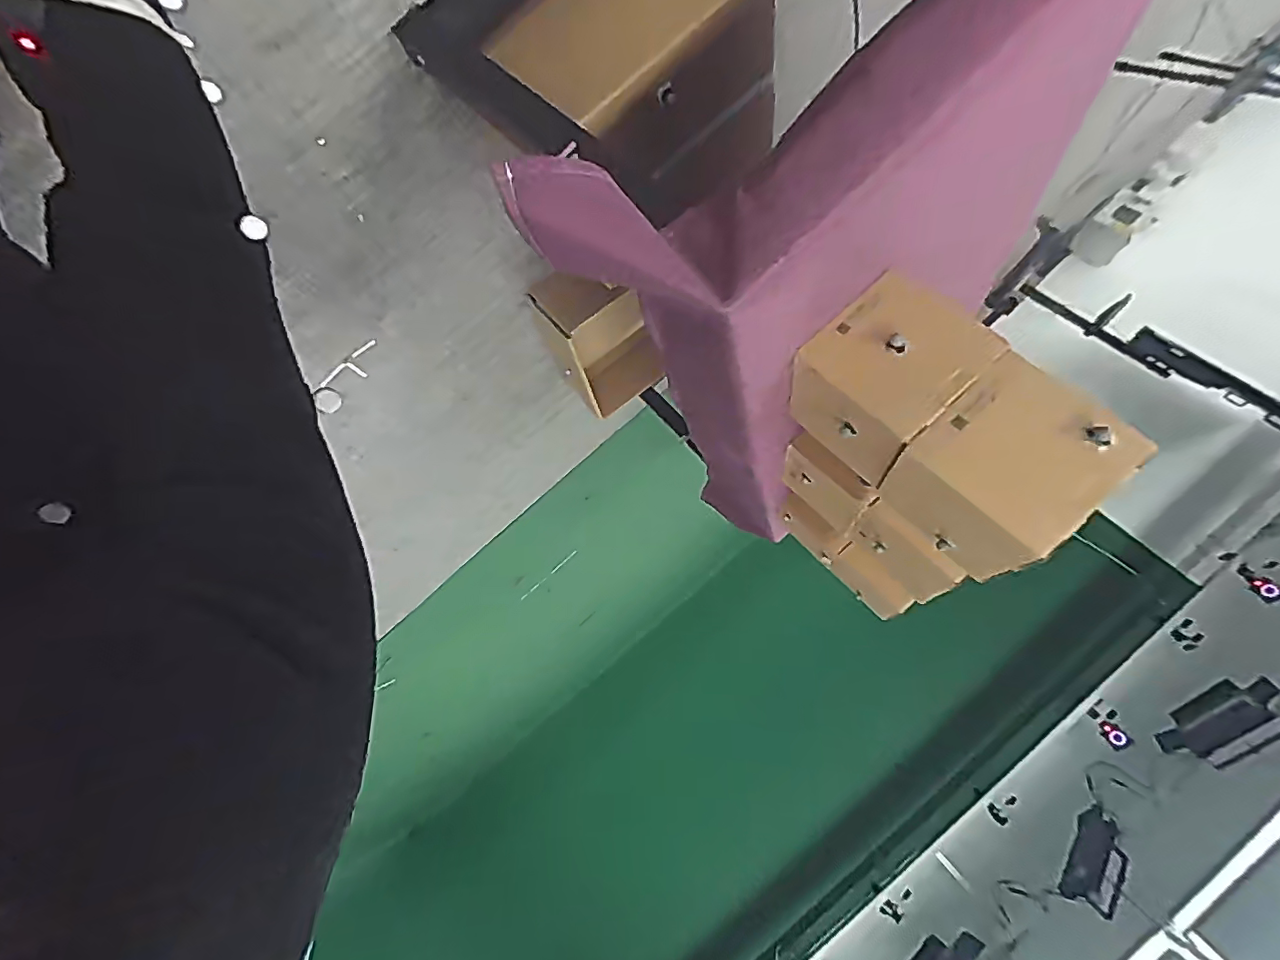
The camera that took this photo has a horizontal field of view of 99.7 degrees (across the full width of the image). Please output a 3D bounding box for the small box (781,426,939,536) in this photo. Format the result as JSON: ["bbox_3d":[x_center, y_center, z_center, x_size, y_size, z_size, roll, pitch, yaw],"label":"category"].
[{"bbox_3d":[0.382,-0.034,0.971,0.179,0.176,0.168,-38,157,-6],"label":"small box"}]

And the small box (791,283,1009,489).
[{"bbox_3d":[0.313,-0.122,0.695,0.168,0.176,0.179,-40,157,-2],"label":"small box"}]

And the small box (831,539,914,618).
[{"bbox_3d":[0.552,0.185,1.208,0.168,0.176,0.179,-41,157,-4],"label":"small box"}]

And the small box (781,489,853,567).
[{"bbox_3d":[0.448,0.074,1.266,0.179,0.176,0.168,-42,157,-3],"label":"small box"}]

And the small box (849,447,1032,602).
[{"bbox_3d":[0.490,0.075,0.910,0.179,0.176,0.168,-38,157,-8],"label":"small box"}]
